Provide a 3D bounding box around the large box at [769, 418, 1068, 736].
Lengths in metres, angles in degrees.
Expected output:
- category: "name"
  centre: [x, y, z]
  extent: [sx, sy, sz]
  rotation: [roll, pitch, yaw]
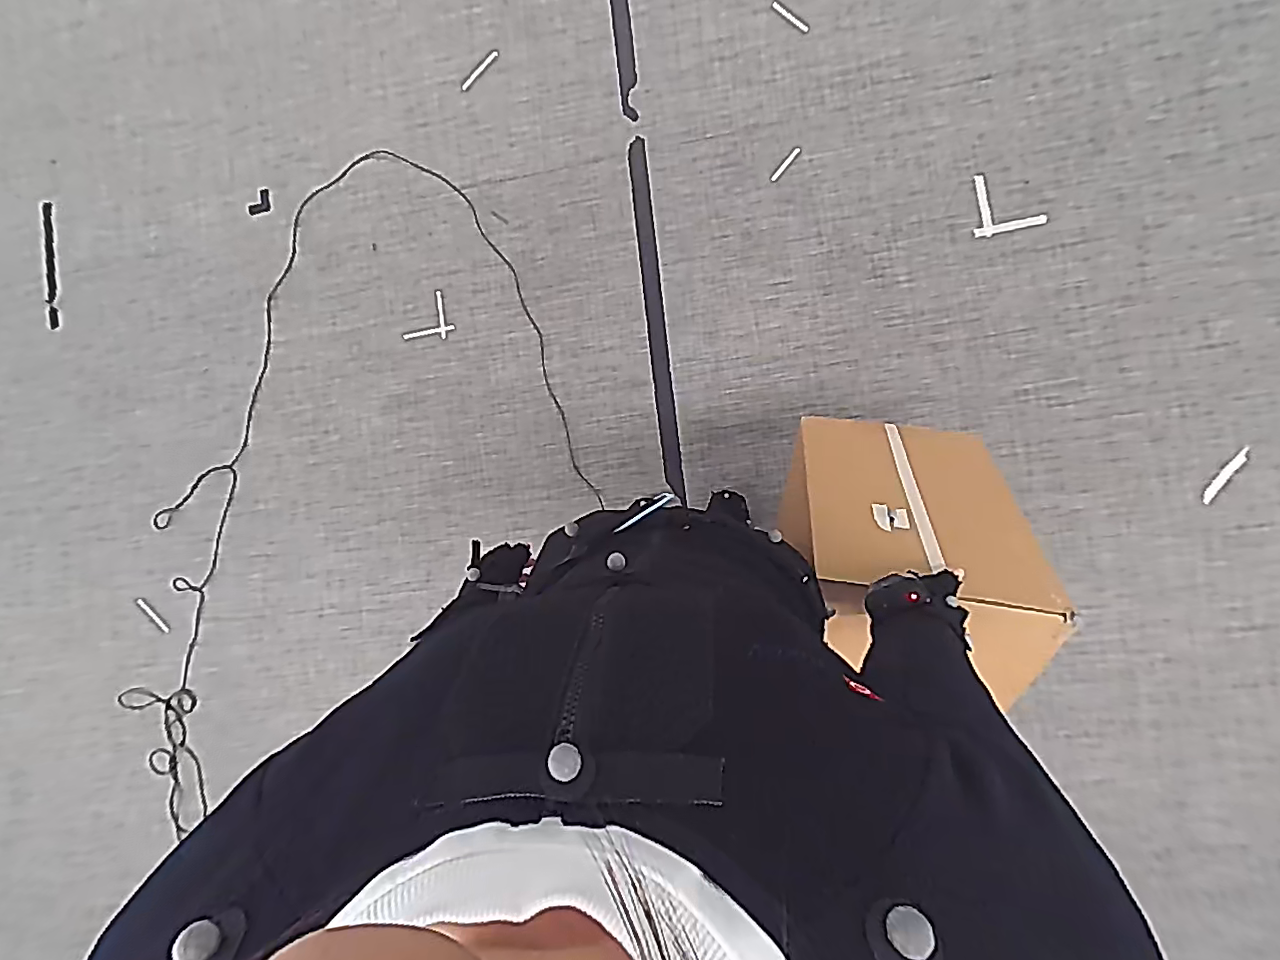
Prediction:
- category: "large box"
  centre: [0.400, 0.143, 0.915]
  extent: [0.320, 0.408, 0.320]
  rotation: [7, 130, 9]
